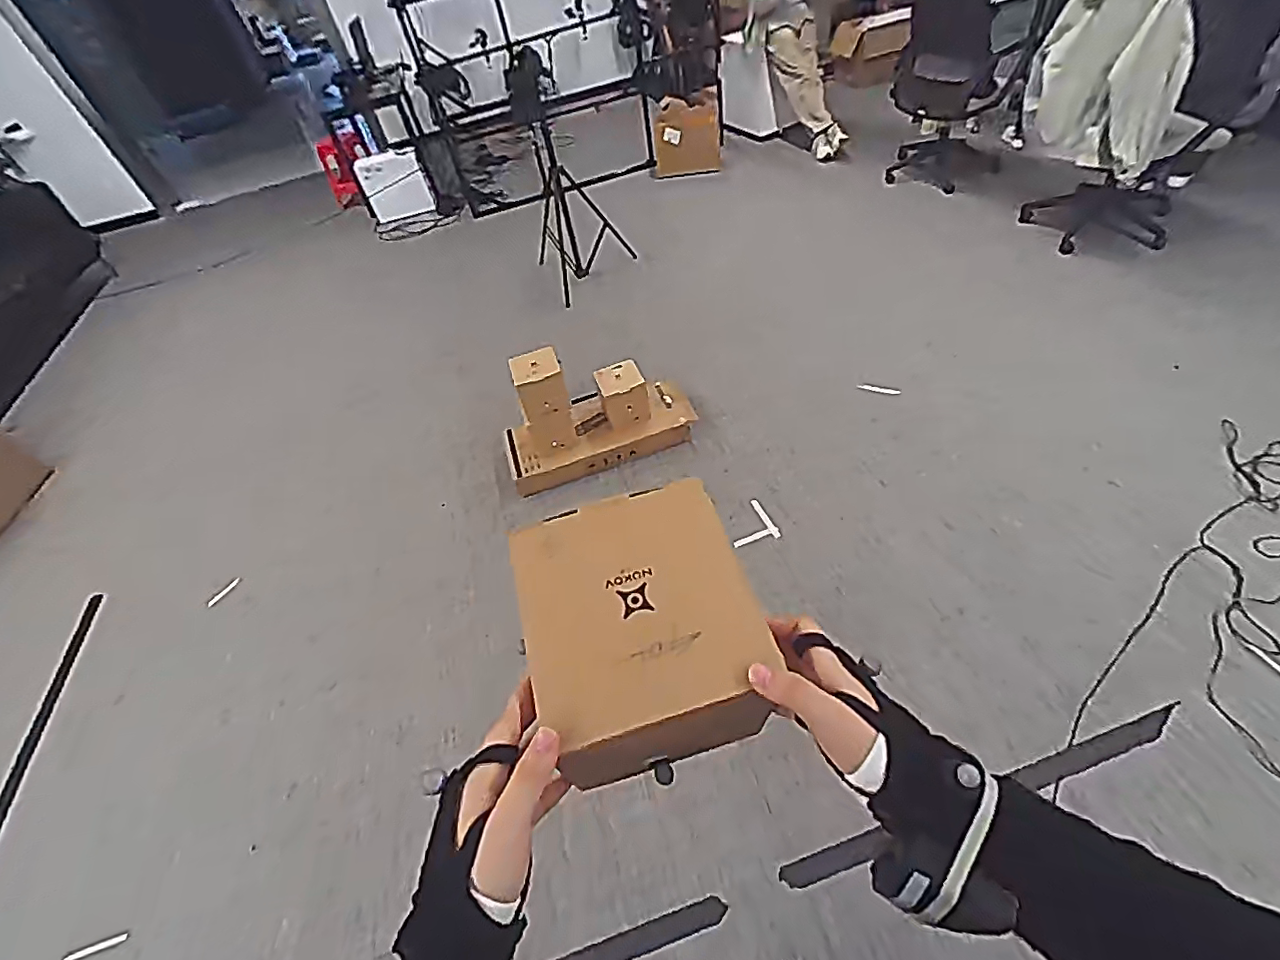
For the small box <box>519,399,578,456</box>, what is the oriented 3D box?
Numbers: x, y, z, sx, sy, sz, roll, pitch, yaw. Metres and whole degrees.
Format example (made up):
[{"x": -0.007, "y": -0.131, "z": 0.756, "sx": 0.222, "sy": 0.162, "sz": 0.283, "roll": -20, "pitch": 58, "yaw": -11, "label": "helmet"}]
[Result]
[{"x": -0.347, "y": -0.221, "z": 2.059, "sx": 0.168, "sy": 0.176, "sz": 0.179, "roll": -20, "pitch": 48, "yaw": -7, "label": "small box"}]

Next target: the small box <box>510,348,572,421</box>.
[{"x": -0.356, "y": -0.342, "z": 1.945, "sx": 0.168, "sy": 0.176, "sz": 0.179, "roll": -19, "pitch": 47, "yaw": -6, "label": "small box"}]

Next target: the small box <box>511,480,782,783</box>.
[{"x": -0.001, "y": 0.132, "z": 0.462, "sx": 0.168, "sy": 0.176, "sz": 0.179, "roll": -15, "pitch": 54, "yaw": -7, "label": "small box"}]

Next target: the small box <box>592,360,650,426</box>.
[{"x": -0.069, "y": -0.328, "z": 2.097, "sx": 0.168, "sy": 0.176, "sz": 0.179, "roll": -20, "pitch": 48, "yaw": -6, "label": "small box"}]
